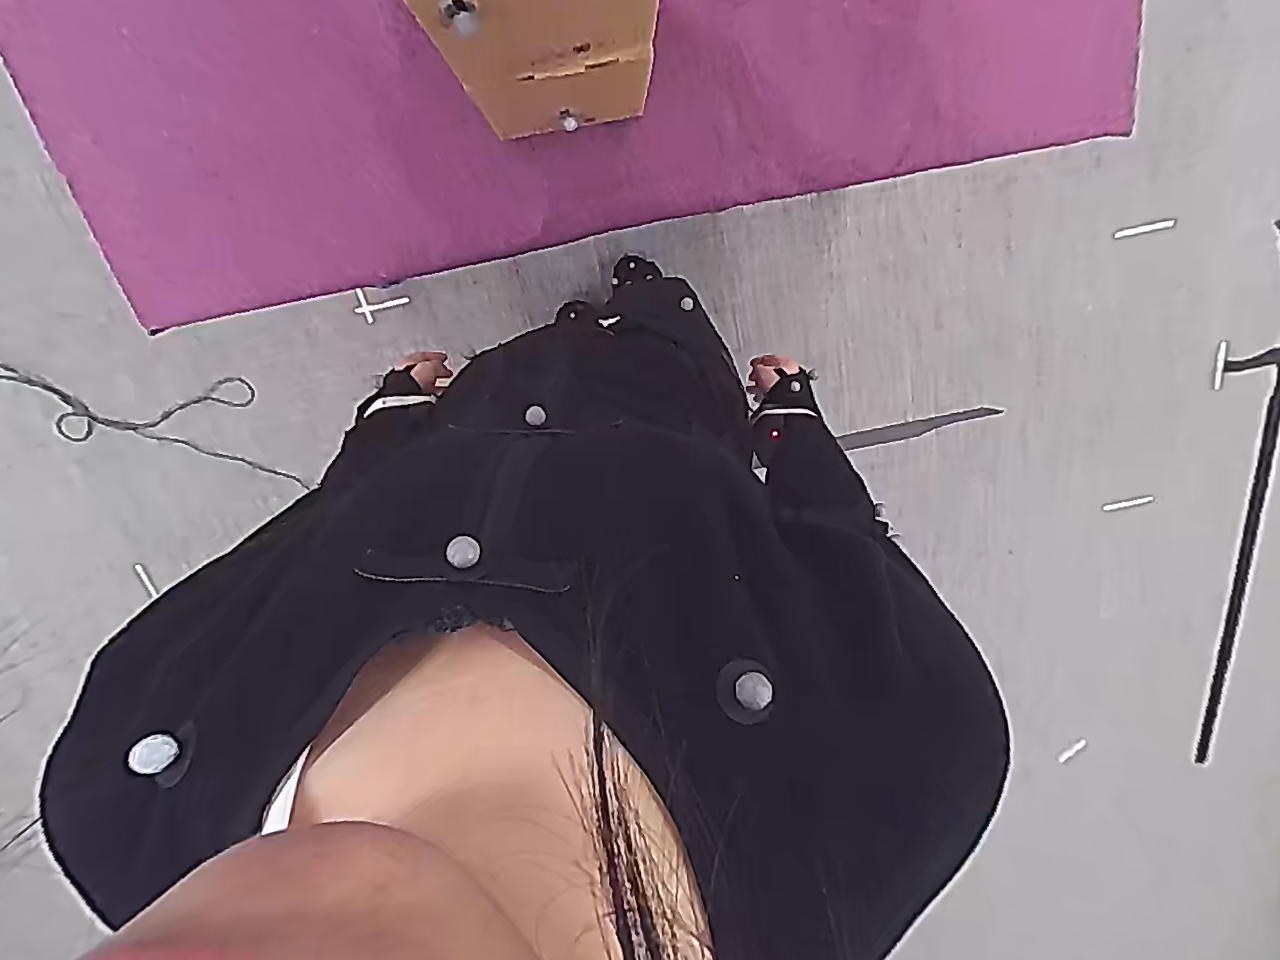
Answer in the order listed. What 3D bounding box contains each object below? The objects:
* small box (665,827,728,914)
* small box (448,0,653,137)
[{"bbox_3d":[0.200,1.400,1.946,0.168,0.176,0.179,-21,110,3],"label":"small box"},{"bbox_3d":[-0.086,-0.455,0.508,0.168,0.176,0.179,-10,110,0],"label":"small box"}]
